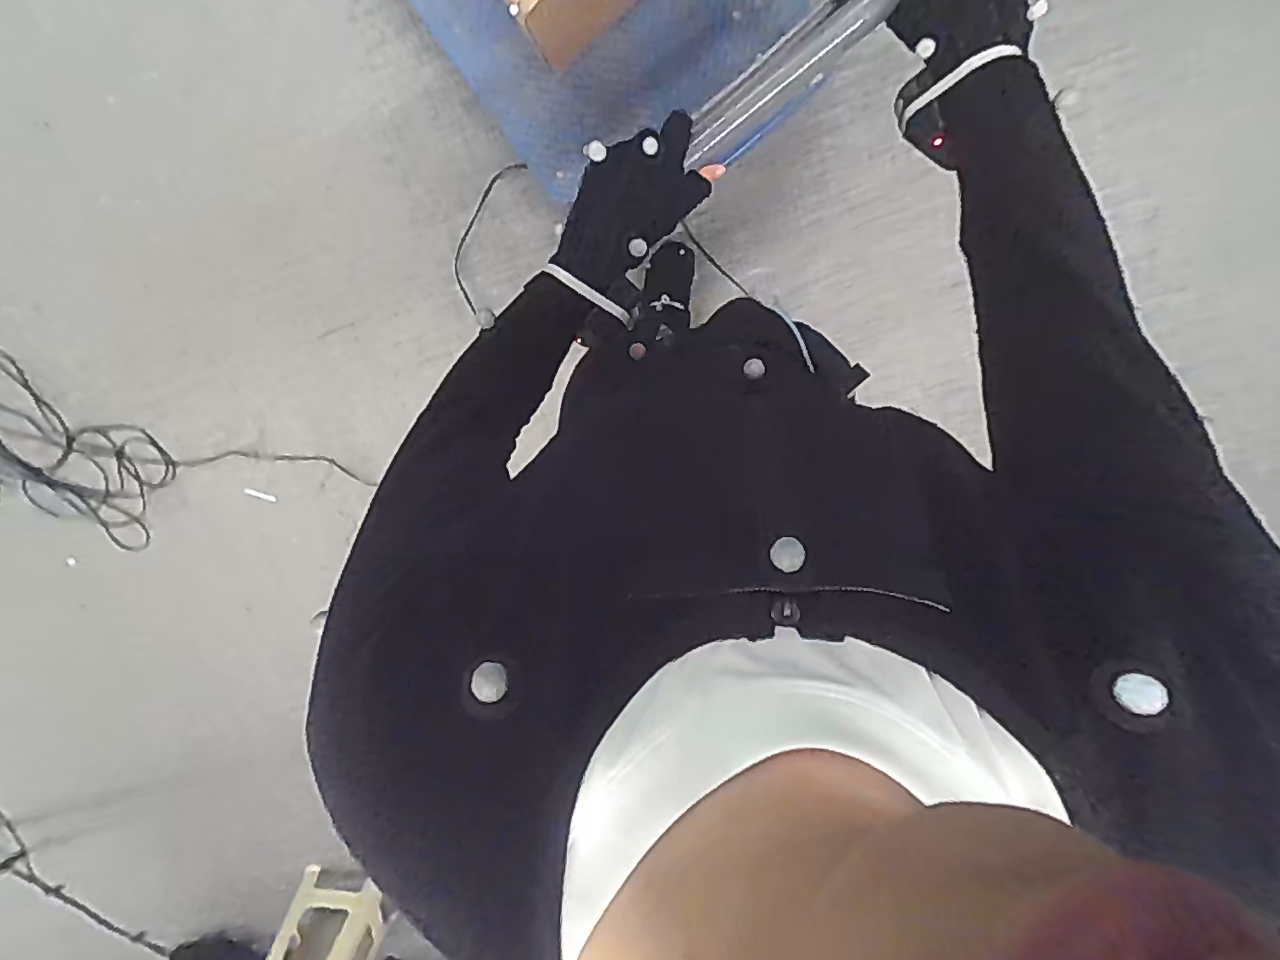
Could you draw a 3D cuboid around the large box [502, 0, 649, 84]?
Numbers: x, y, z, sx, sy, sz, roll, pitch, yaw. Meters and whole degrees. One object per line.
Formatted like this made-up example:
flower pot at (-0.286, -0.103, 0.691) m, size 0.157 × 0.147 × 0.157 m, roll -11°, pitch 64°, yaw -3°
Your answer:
large box at (-0.091, -0.925, 0.818) m, size 0.408 × 0.320 × 0.320 m, roll -36°, pitch 106°, yaw 16°
